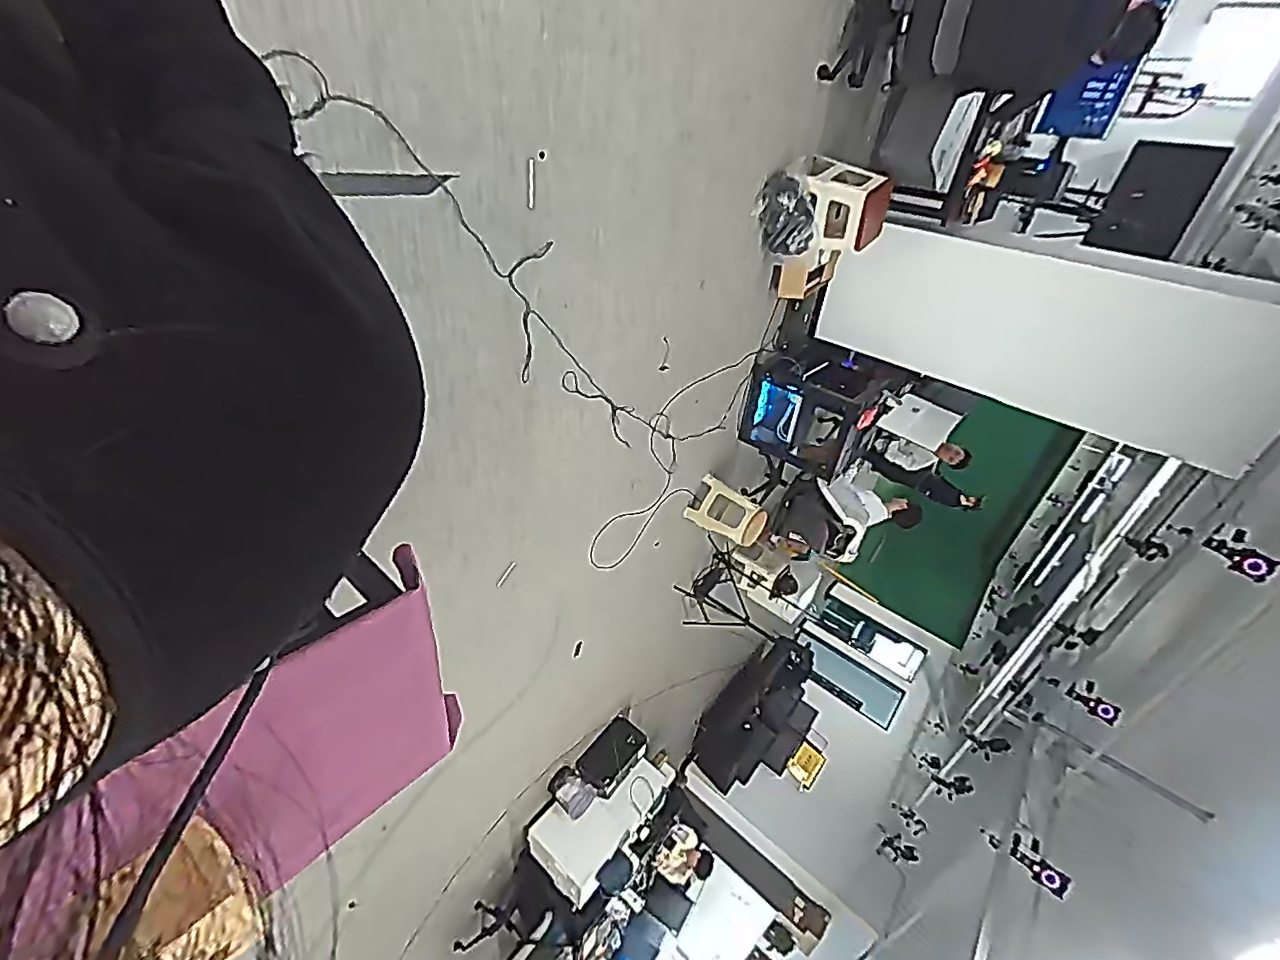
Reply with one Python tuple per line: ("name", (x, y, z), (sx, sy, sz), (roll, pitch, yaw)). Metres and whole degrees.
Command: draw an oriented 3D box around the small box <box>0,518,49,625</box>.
("small box", (-1.295, 0.179, 1.030), (0.168, 0.176, 0.179), (-32, 139, -42))
